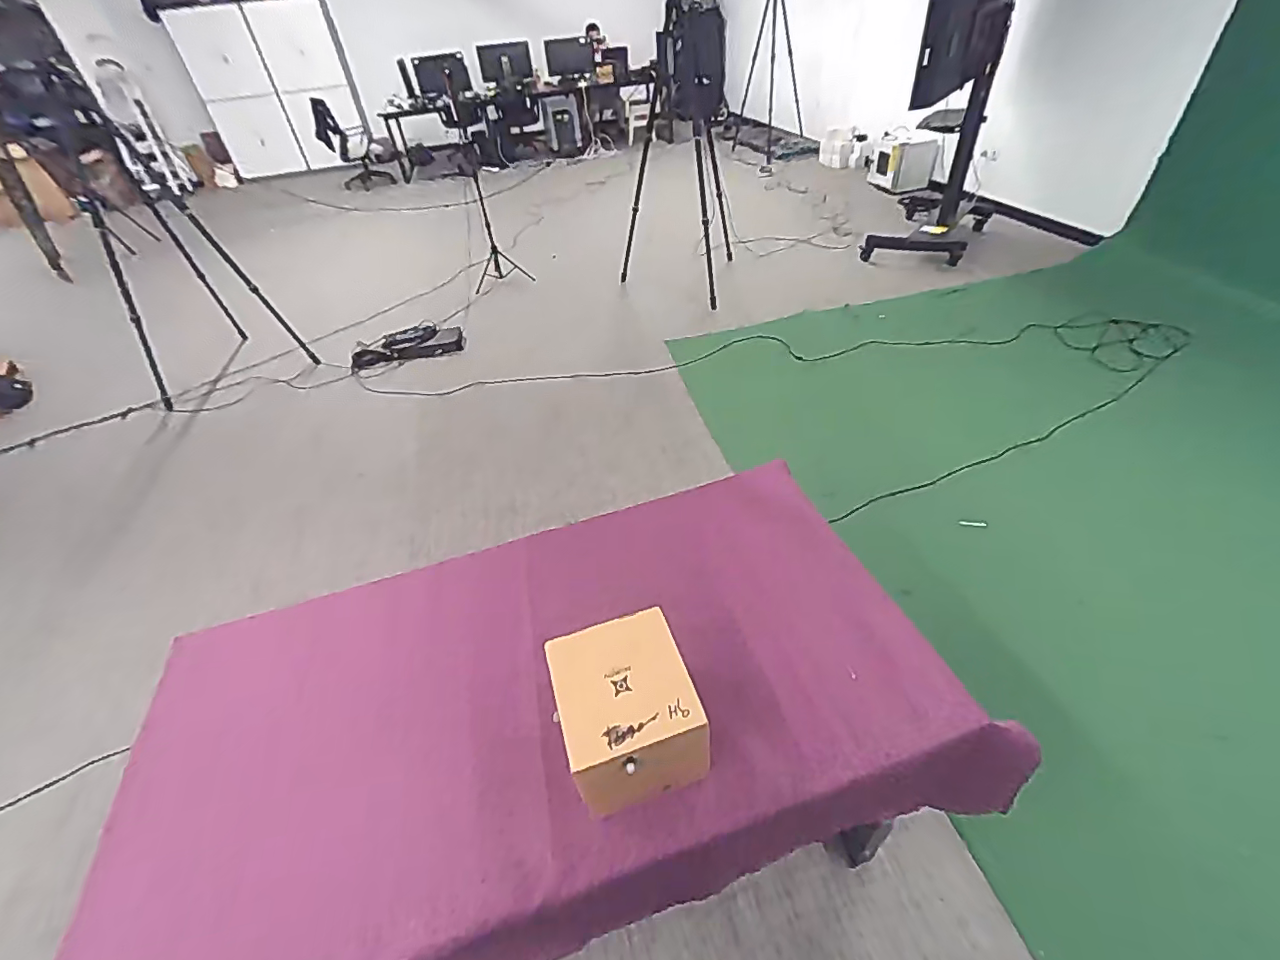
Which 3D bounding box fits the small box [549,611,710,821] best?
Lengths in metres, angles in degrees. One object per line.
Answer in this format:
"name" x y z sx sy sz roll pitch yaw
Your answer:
"small box" -0.014 0.314 0.725 0.168 0.176 0.179 -17 42 -9
